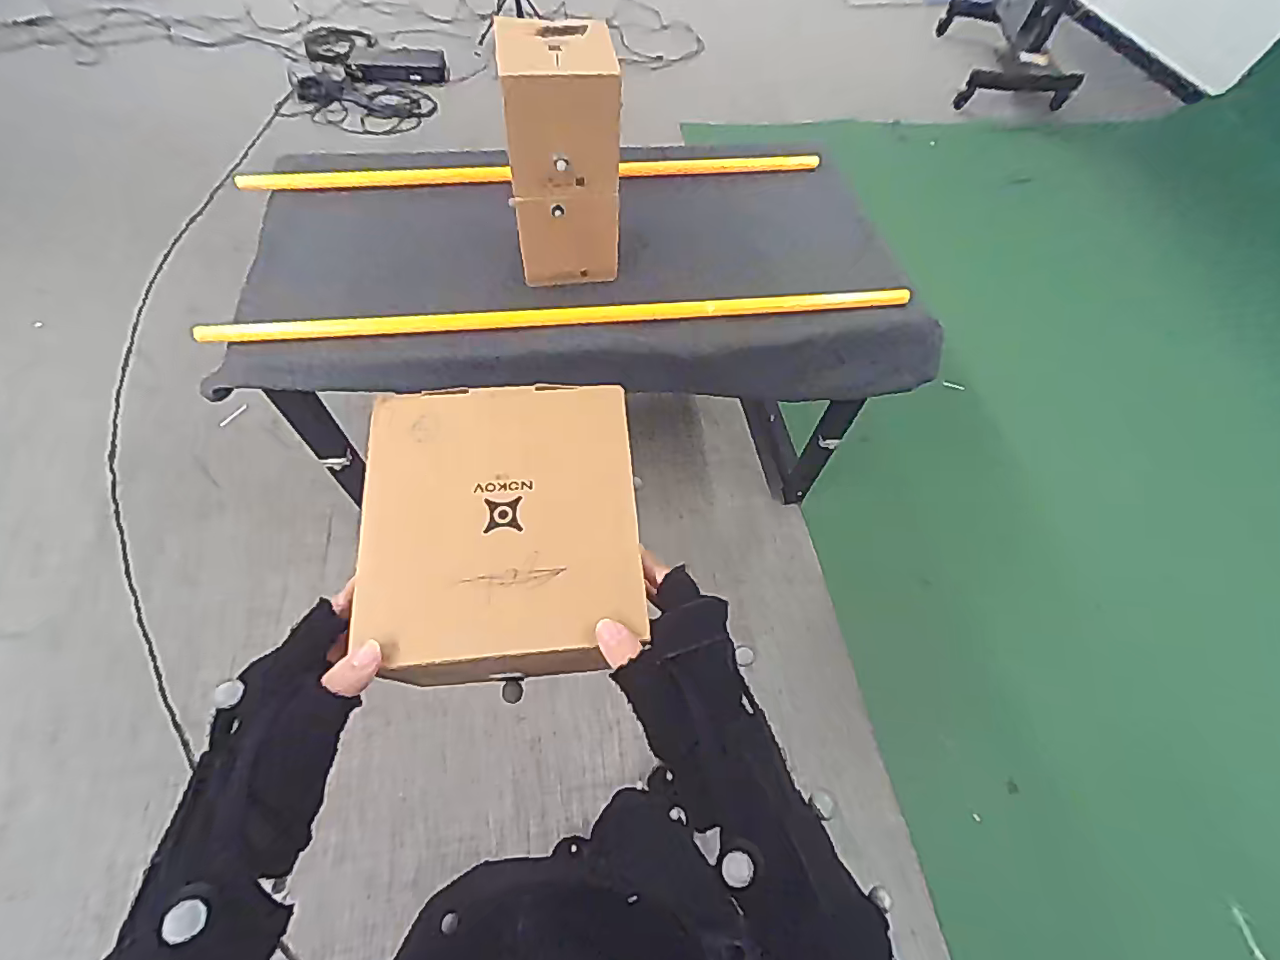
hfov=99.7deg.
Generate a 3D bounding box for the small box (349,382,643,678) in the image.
[{"bbox_3d":[-0.094,0.046,0.410,0.168,0.176,0.179,-4,67,-7],"label":"small box"}]

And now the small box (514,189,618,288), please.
[{"bbox_3d":[-0.135,-0.471,0.967,0.168,0.176,0.179,-8,59,-8],"label":"small box"}]

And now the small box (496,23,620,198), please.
[{"bbox_3d":[-0.125,-0.561,0.829,0.168,0.176,0.179,-6,60,-8],"label":"small box"}]
